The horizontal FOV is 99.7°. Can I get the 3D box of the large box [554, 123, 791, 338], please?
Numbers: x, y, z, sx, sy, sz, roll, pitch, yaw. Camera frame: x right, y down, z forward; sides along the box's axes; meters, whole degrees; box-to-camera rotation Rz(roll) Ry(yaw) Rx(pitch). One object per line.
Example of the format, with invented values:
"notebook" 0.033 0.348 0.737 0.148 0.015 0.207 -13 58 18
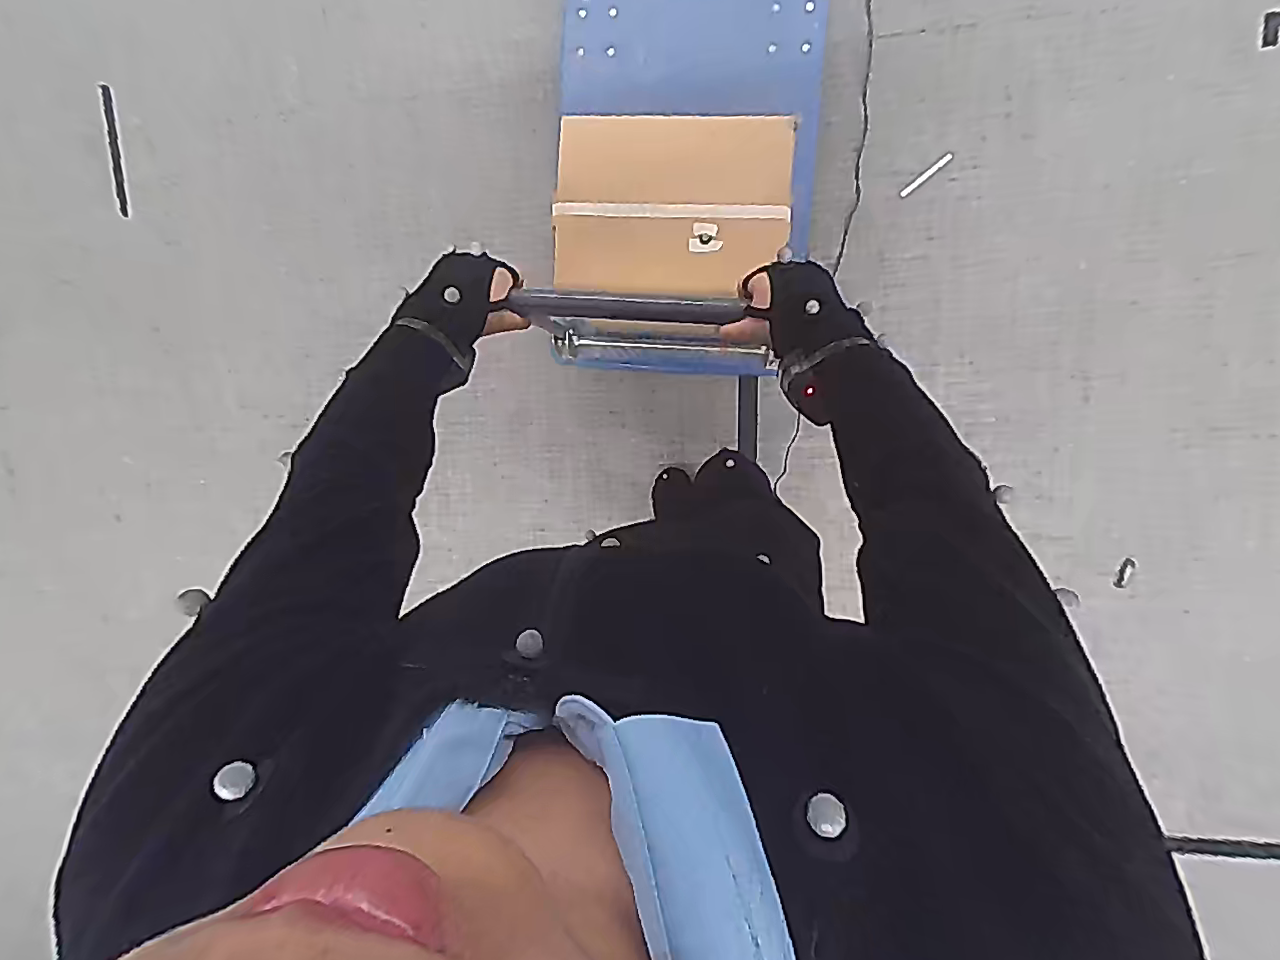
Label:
"large box" 0.063 -0.469 1.082 0.408 0.320 0.320 5 97 6
